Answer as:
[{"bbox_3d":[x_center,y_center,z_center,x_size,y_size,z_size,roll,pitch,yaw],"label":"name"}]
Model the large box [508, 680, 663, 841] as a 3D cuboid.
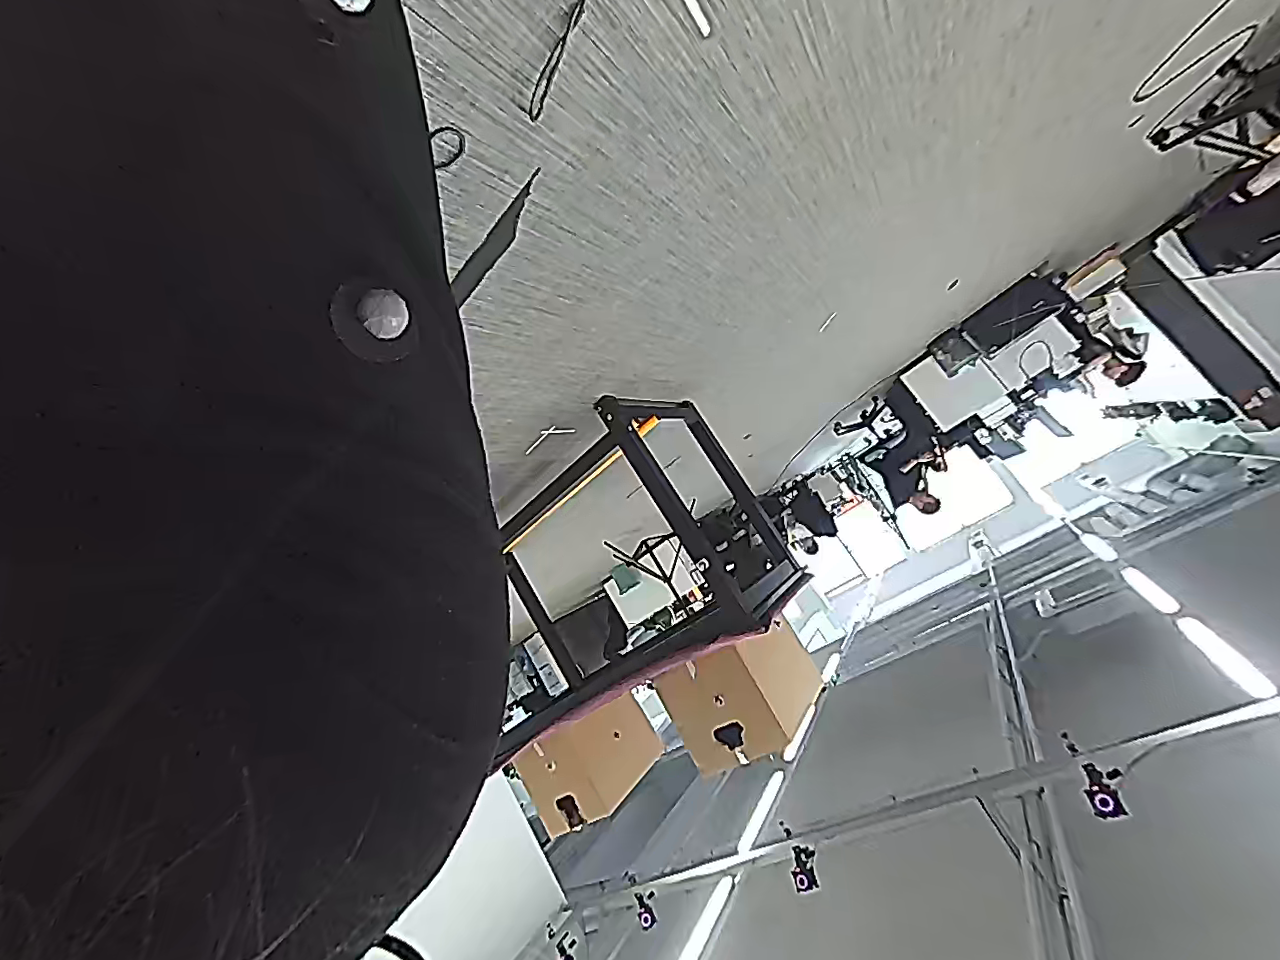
[{"bbox_3d":[-0.192,0.998,1.963,0.320,0.320,0.408,-38,168,27],"label":"large box"}]
